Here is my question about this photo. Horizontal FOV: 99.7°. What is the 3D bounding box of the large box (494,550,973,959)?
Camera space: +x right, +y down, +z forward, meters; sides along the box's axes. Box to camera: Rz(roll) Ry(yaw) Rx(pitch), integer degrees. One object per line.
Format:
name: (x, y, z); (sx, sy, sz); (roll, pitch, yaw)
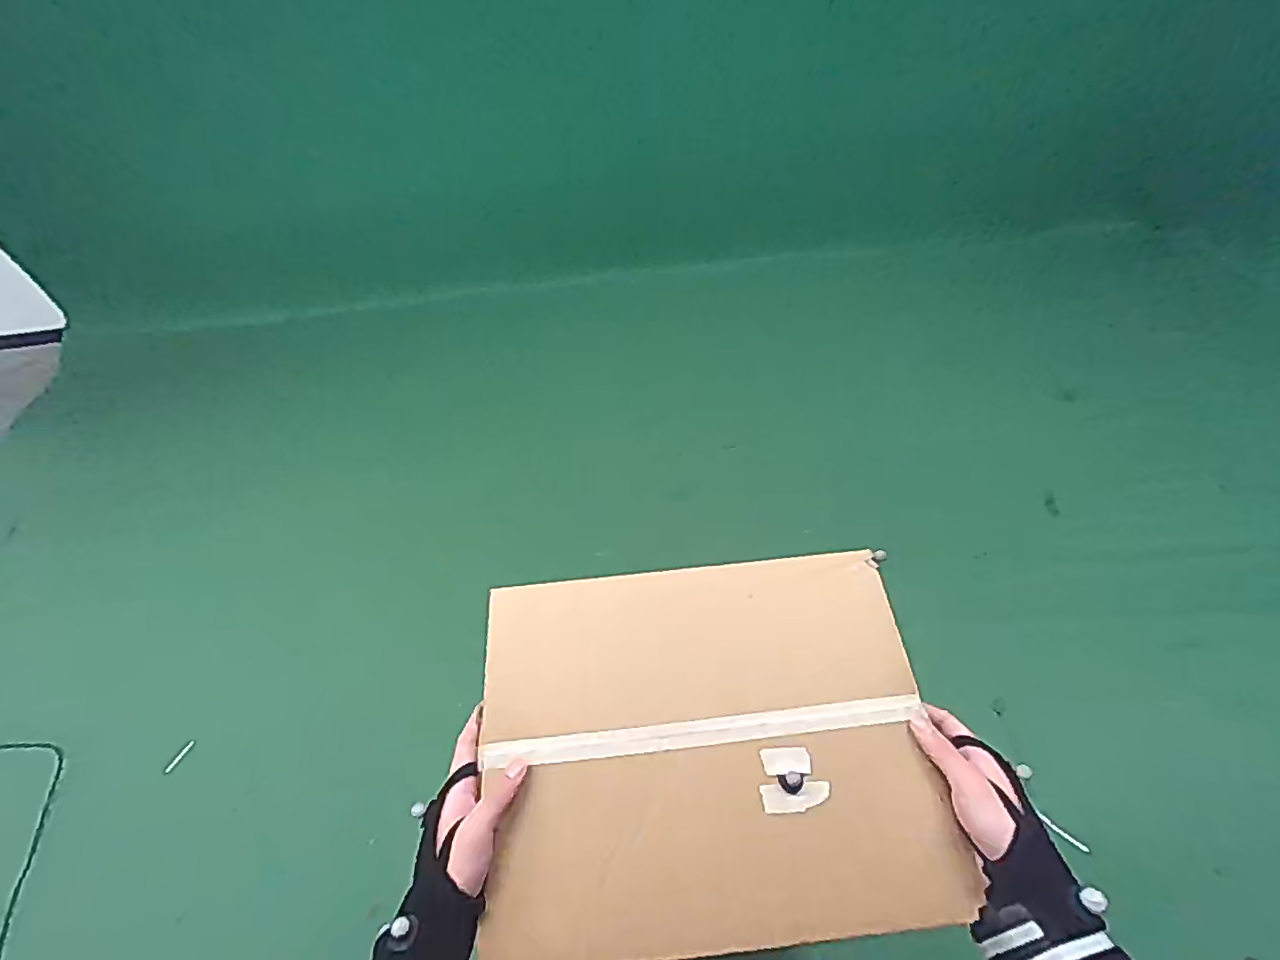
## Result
large box: (0.064, 0.304, 0.637); (0.408, 0.320, 0.320); (-6, 61, -2)
